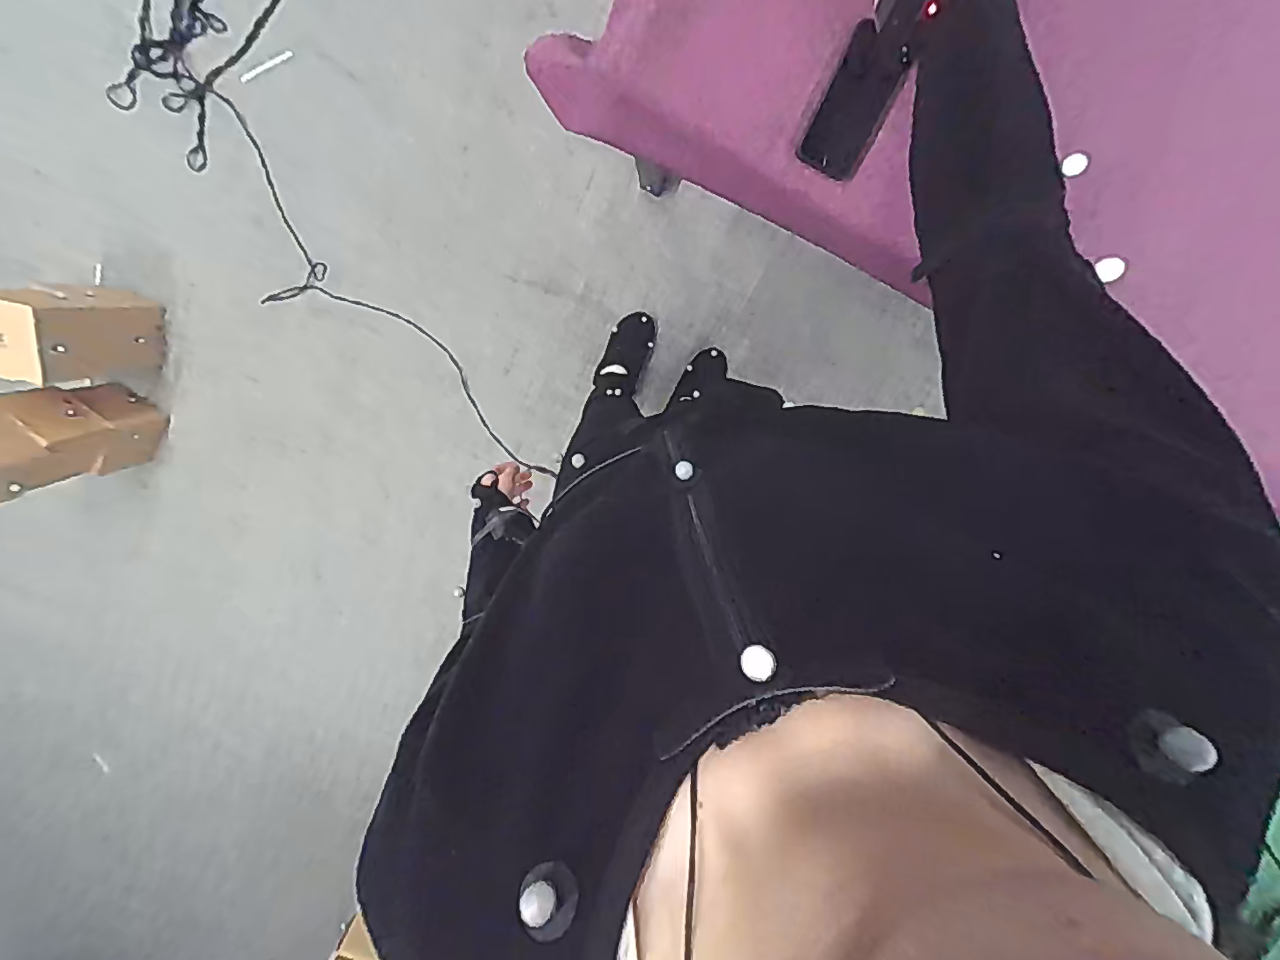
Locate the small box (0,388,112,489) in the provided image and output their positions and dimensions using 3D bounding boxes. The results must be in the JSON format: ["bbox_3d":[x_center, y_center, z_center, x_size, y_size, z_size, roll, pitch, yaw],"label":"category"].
[{"bbox_3d":[-1.470,-0.102,1.325,0.168,0.176,0.179,42,104,-10],"label":"small box"}]

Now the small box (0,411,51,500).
[{"bbox_3d":[-1.471,-0.047,1.170,0.168,0.176,0.179,-41,102,13],"label":"small box"}]

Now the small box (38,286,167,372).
[{"bbox_3d":[-1.374,-0.393,1.394,0.179,0.176,0.168,18,108,-3],"label":"small box"}]

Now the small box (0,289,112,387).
[{"bbox_3d":[-1.372,-0.331,1.242,0.168,0.176,0.179,14,109,-3],"label":"small box"}]
